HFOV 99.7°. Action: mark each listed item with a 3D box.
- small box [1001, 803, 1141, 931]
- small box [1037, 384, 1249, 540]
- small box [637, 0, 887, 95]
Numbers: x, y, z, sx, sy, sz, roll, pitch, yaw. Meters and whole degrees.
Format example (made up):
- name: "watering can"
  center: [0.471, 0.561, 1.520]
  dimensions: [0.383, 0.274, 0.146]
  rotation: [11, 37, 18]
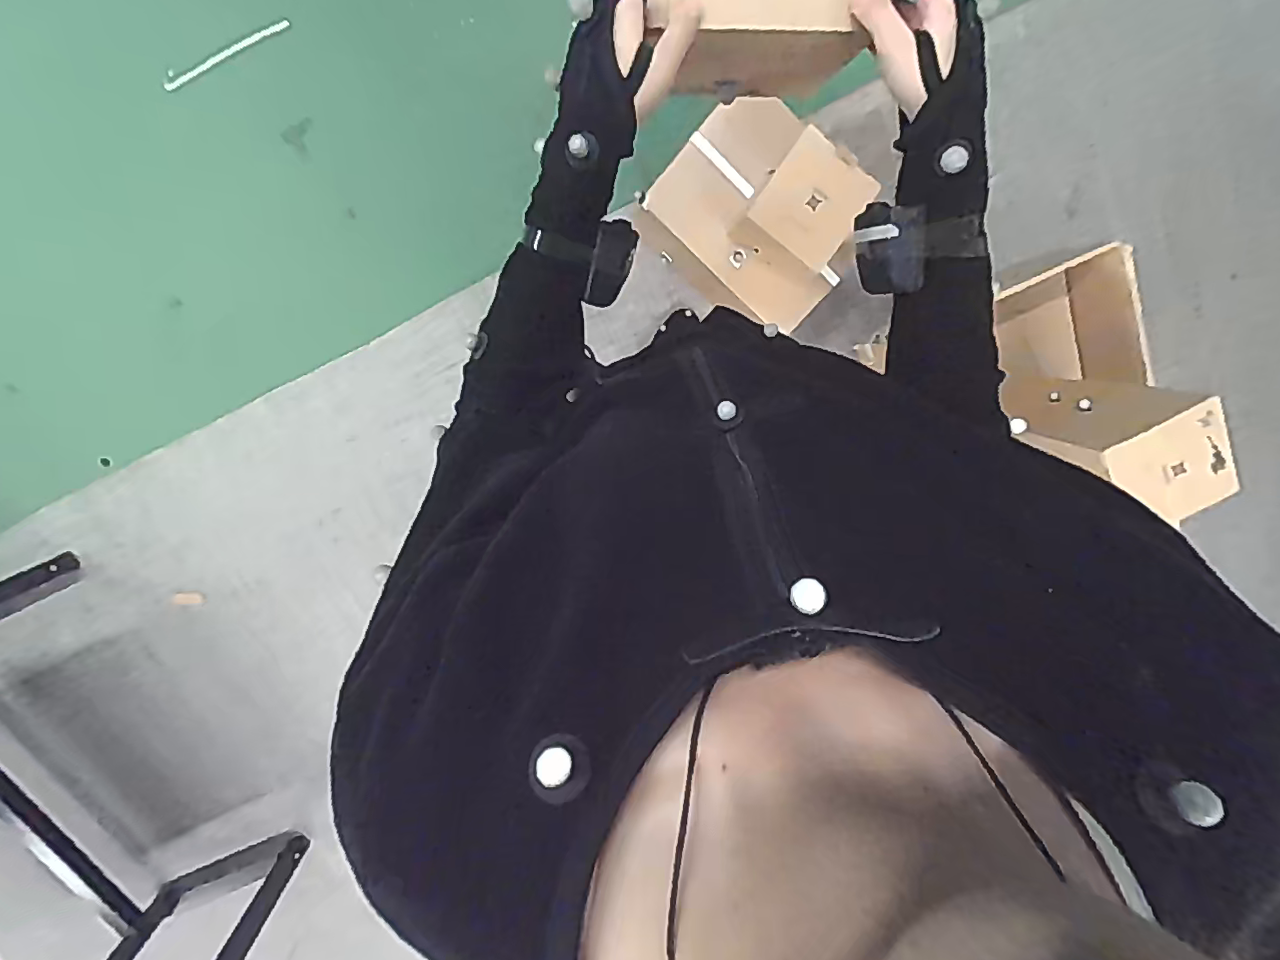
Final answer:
- name: "small box"
  center: [0.973, 0.872, 1.234]
  dimensions: [0.179, 0.176, 0.168]
  rotation: [-7, 106, -1]
- name: "small box"
  center: [0.776, -0.036, 0.857]
  dimensions: [0.179, 0.176, 0.168]
  rotation: [-28, 105, 6]
- name: "small box"
  center: [0.082, -0.416, 0.403]
  dimensions: [0.168, 0.176, 0.179]
  rotation: [0, 113, 0]
